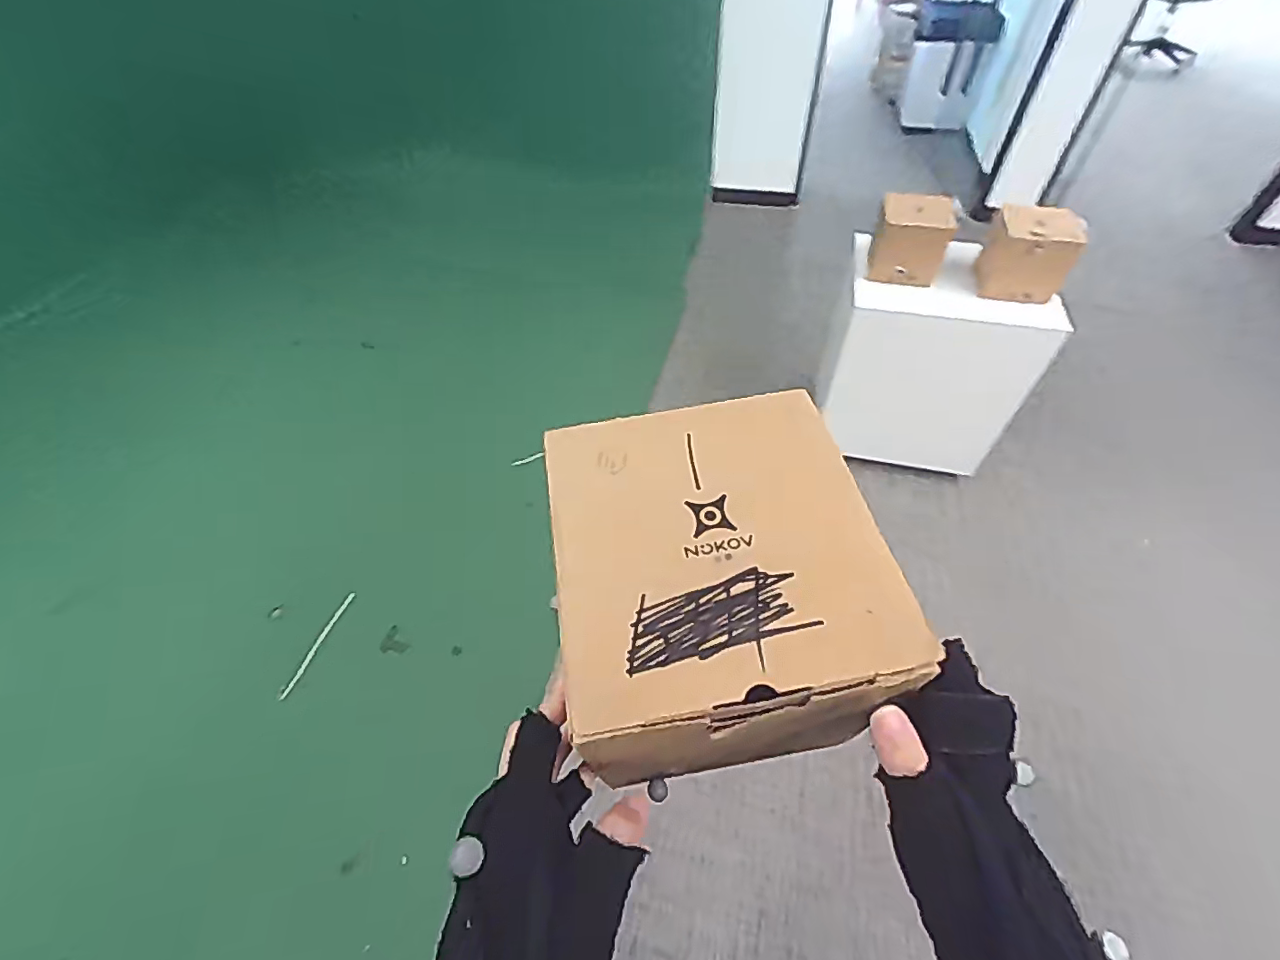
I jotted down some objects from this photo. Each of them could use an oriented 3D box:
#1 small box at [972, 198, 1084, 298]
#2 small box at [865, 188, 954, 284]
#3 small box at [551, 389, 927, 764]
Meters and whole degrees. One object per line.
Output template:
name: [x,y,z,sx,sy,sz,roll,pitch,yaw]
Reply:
small box: [0.971,-0.591,1.375,0.168,0.176,0.179,9,52,11]
small box: [0.709,-0.652,1.443,0.168,0.176,0.179,8,54,10]
small box: [0.044,0.072,0.351,0.168,0.176,0.179,-10,54,-2]
